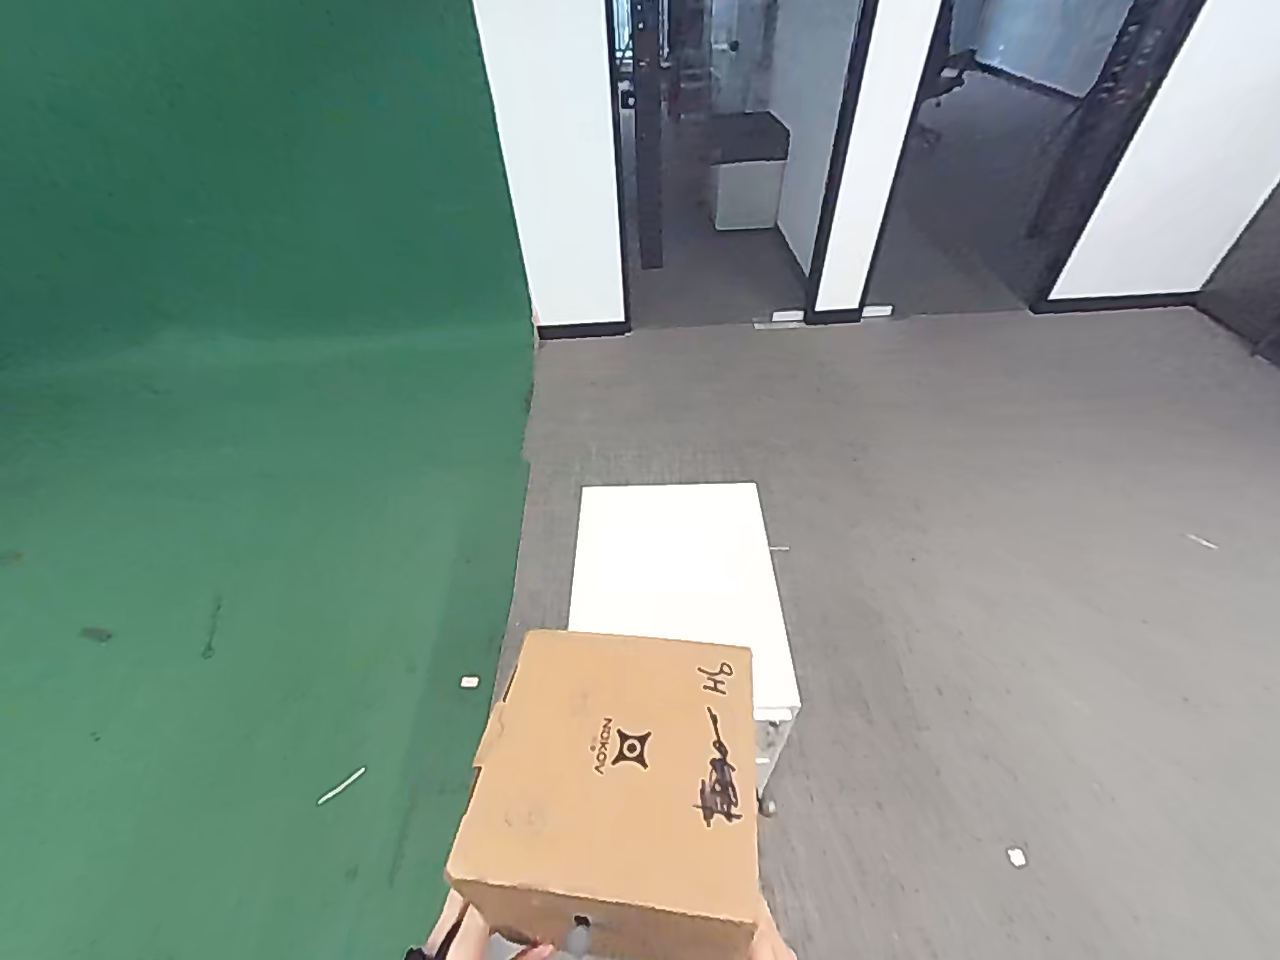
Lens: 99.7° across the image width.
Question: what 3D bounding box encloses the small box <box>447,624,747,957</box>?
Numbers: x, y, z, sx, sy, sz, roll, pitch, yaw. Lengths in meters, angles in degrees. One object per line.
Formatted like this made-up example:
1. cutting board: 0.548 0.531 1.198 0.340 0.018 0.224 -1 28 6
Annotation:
1. small box: -0.012 0.231 0.411 0.179 0.176 0.168 2 40 8
